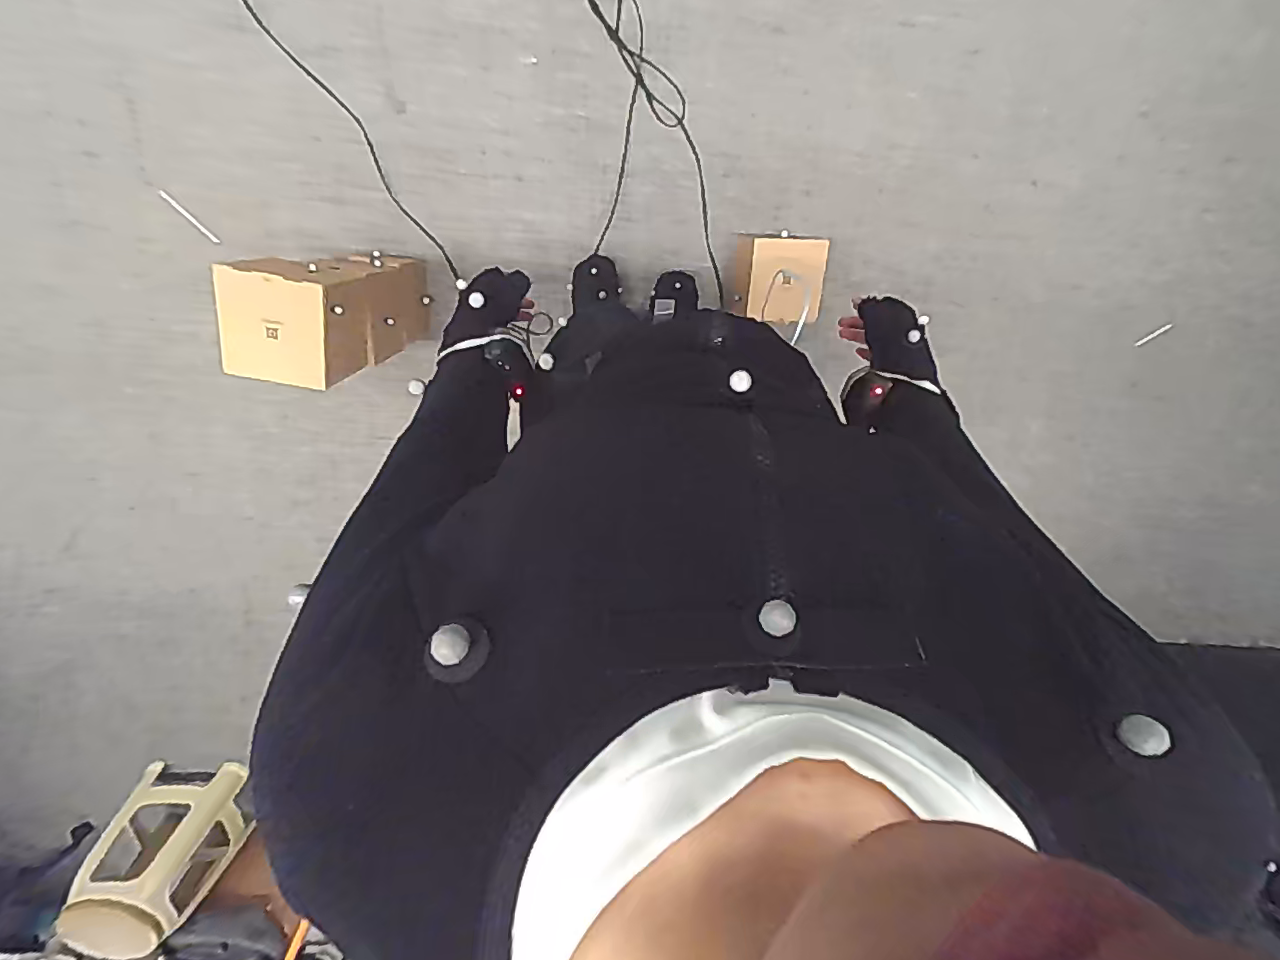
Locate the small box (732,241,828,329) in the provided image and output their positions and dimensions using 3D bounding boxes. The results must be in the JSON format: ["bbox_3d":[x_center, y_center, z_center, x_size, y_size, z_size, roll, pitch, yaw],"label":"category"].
[{"bbox_3d":[0.318,-0.460,1.270,0.168,0.176,0.179,1,115,-4],"label":"small box"}]

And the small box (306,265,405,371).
[{"bbox_3d":[-0.594,-0.335,1.104,0.168,0.176,0.179,5,115,-5],"label":"small box"}]

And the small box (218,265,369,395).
[{"bbox_3d":[-0.597,-0.270,0.955,0.168,0.176,0.179,10,113,-7],"label":"small box"}]

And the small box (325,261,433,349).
[{"bbox_3d":[-0.596,-0.409,1.254,0.168,0.176,0.179,3,113,-1],"label":"small box"}]
